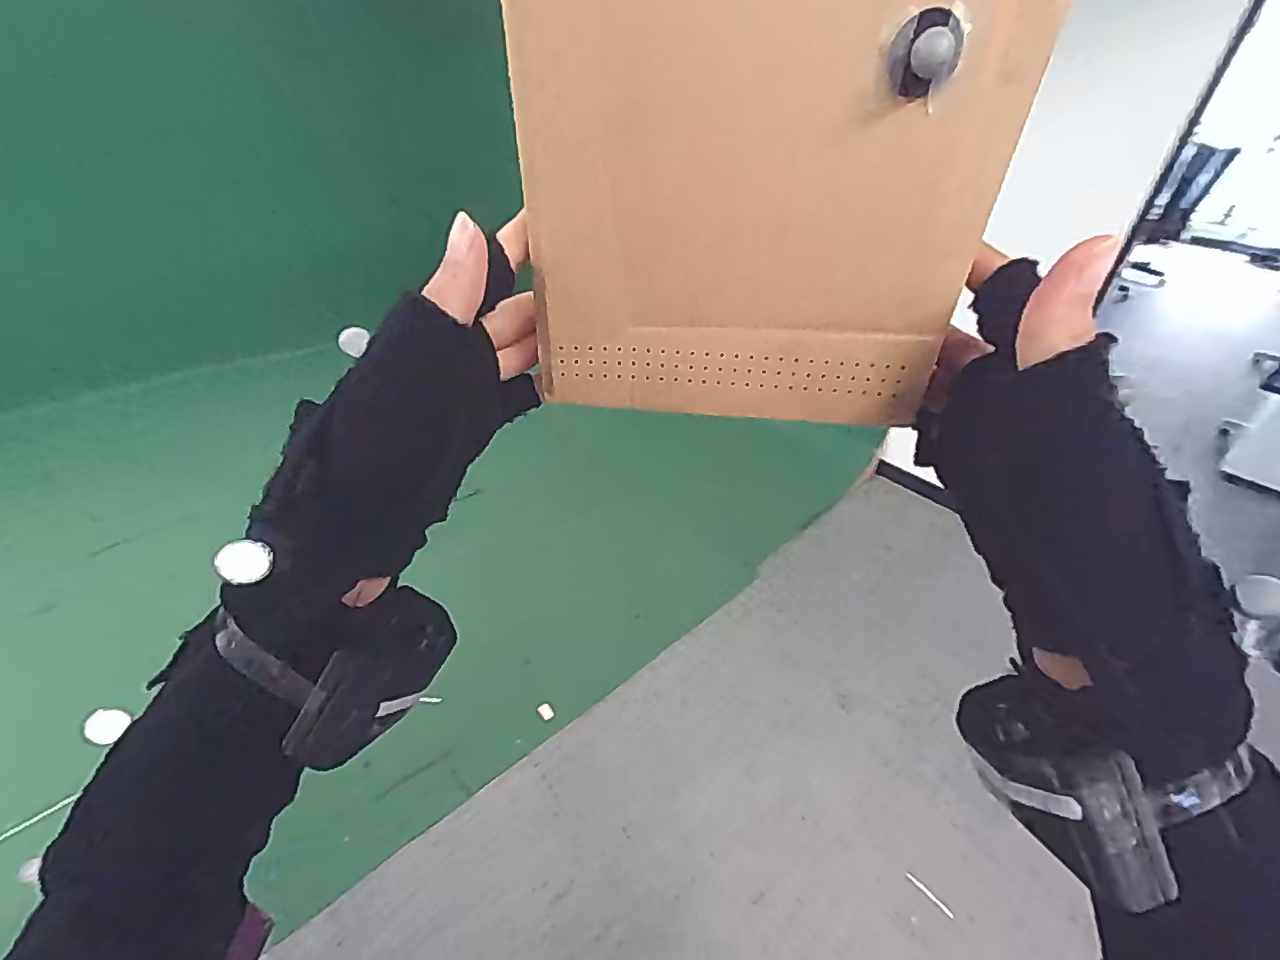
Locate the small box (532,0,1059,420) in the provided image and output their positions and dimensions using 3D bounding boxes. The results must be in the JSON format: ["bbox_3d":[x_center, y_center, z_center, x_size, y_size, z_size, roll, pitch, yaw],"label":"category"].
[{"bbox_3d":[0.054,-0.143,0.275,0.179,0.176,0.168,5,37,3],"label":"small box"}]
